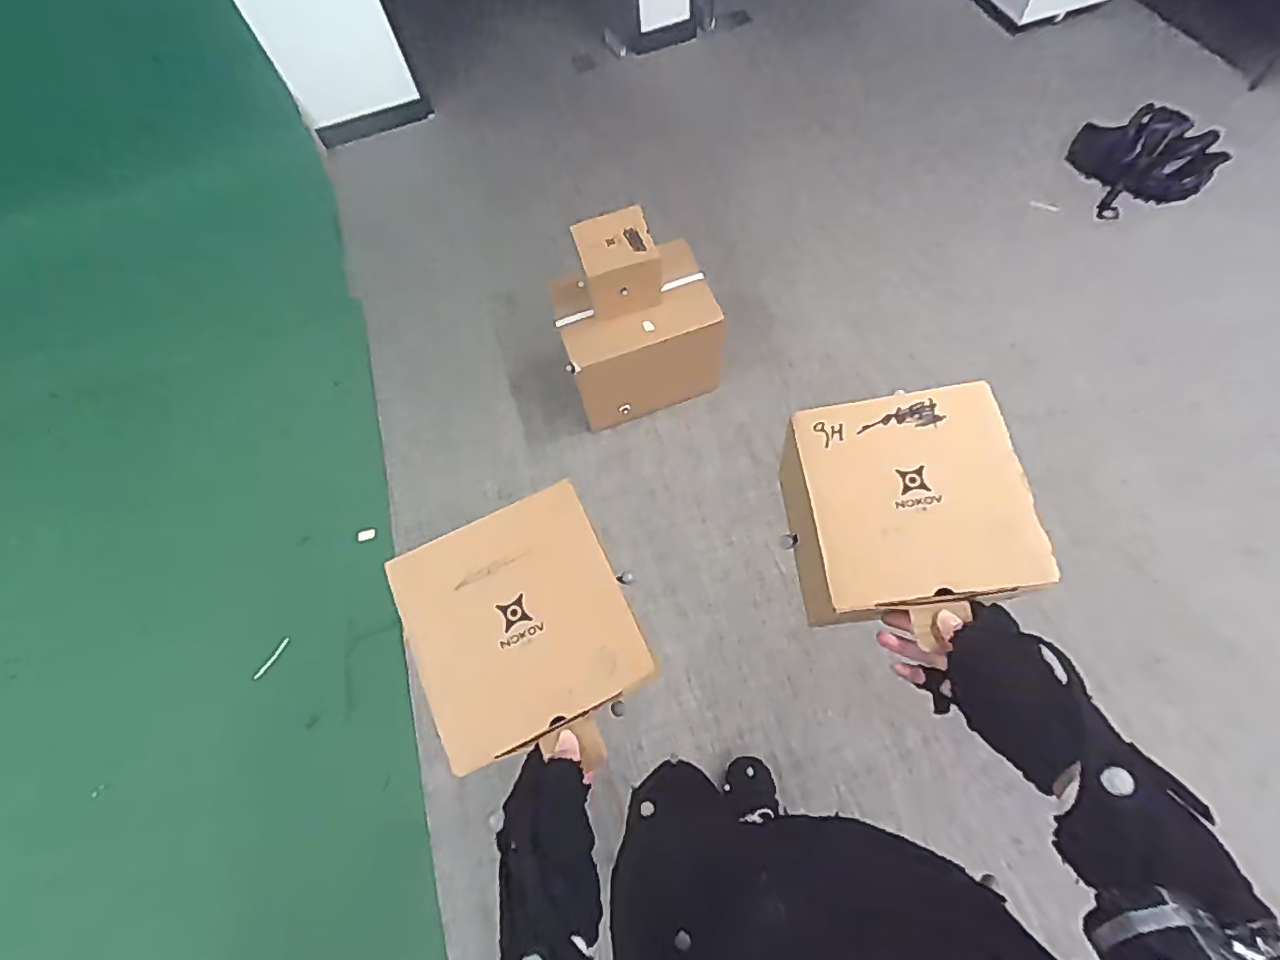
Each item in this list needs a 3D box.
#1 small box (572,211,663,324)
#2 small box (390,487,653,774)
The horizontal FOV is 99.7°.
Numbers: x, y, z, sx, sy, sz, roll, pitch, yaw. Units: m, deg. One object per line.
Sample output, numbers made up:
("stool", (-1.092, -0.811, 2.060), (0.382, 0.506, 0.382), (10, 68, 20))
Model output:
("small box", (-0.051, -0.516, 1.330), (0.179, 0.176, 0.168), (-20, 71, -4))
("small box", (-0.095, 0.136, 0.507), (0.168, 0.176, 0.179), (-26, 72, -6))
